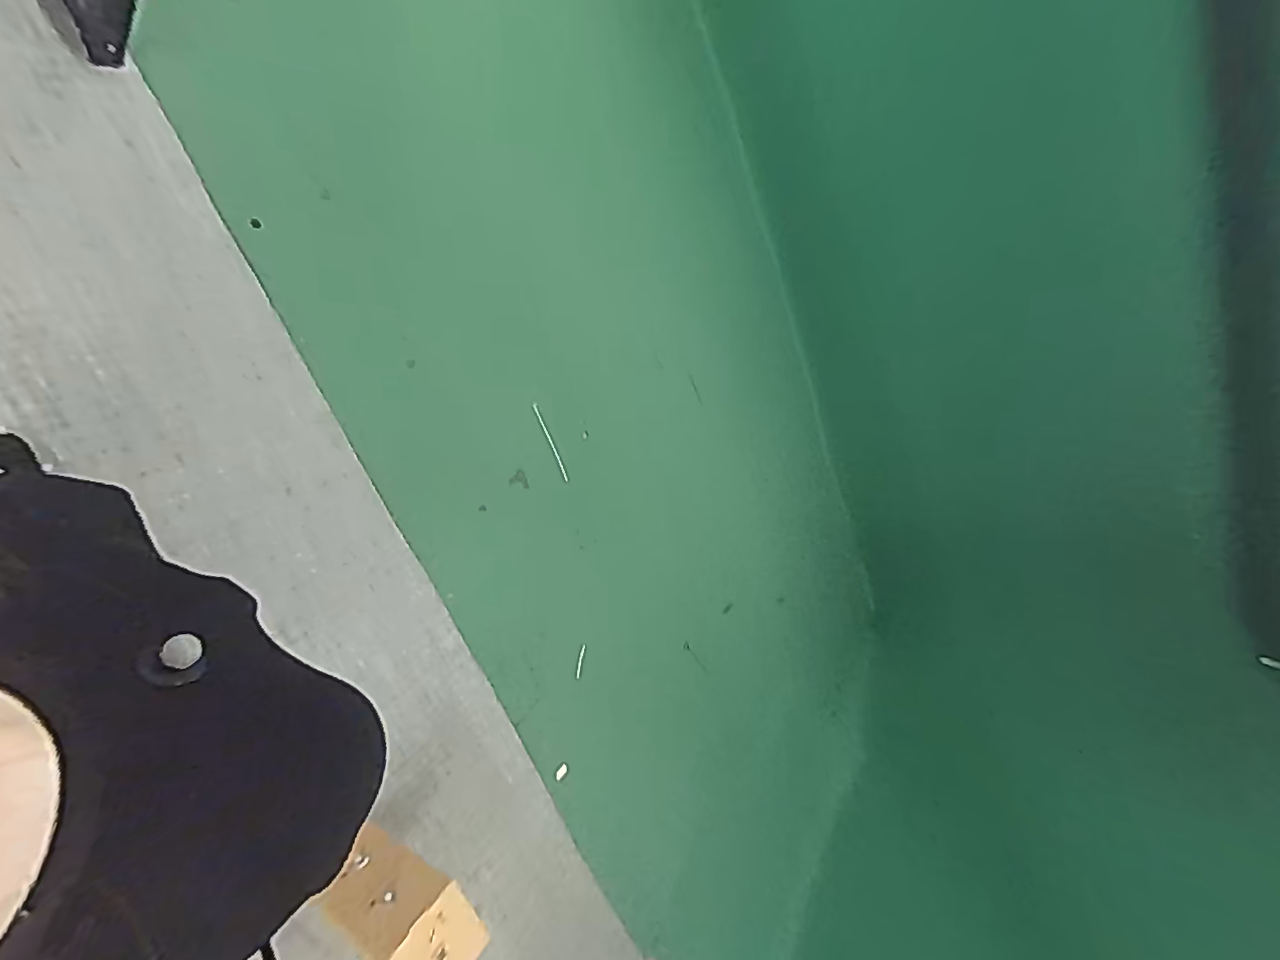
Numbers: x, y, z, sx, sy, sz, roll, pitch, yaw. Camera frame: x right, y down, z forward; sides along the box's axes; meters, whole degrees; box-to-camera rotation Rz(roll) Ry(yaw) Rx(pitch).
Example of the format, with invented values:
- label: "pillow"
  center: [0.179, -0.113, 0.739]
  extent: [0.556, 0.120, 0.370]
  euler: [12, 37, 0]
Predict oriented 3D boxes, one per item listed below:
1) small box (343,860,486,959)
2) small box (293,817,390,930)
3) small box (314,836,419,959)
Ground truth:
- label: "small box"
  center: [-0.447, 0.907, 1.075]
  extent: [0.168, 0.176, 0.179]
  euler: [-38, 113, -47]
- label: "small box"
  center: [-0.690, 0.944, 1.292]
  extent: [0.168, 0.176, 0.179]
  euler: [-33, 108, -47]
- label: "small box"
  center: [-0.570, 0.926, 1.184]
  extent: [0.168, 0.176, 0.179]
  euler: [-38, 112, -47]
